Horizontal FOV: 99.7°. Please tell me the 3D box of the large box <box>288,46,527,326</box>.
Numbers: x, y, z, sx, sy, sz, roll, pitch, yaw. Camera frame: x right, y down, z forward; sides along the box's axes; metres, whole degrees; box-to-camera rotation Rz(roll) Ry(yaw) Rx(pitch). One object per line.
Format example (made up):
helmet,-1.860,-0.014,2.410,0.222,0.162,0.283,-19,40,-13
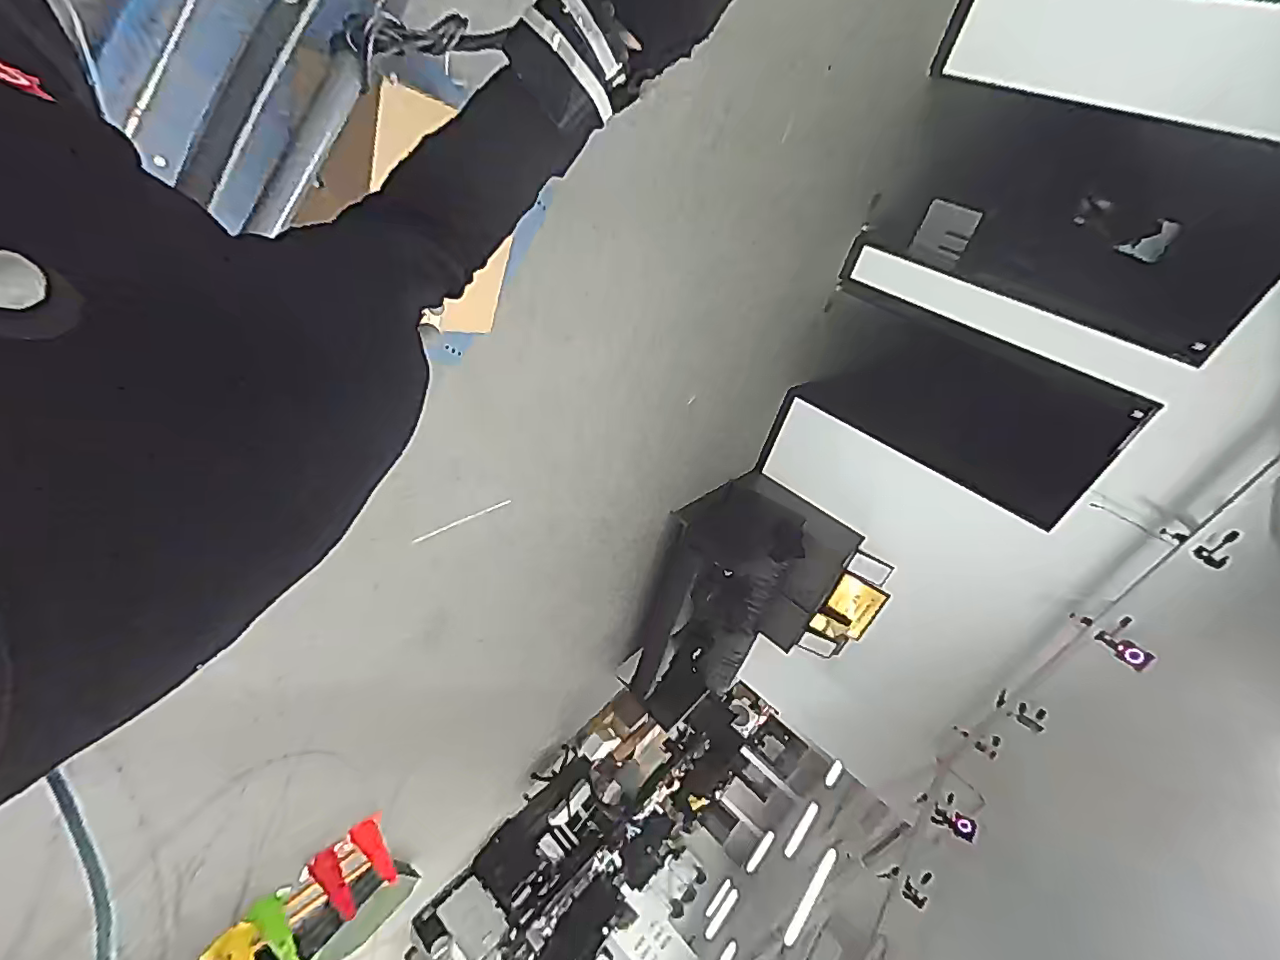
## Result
large box,-0.487,-0.570,1.111,0.320,0.320,0.408,-16,134,-52
